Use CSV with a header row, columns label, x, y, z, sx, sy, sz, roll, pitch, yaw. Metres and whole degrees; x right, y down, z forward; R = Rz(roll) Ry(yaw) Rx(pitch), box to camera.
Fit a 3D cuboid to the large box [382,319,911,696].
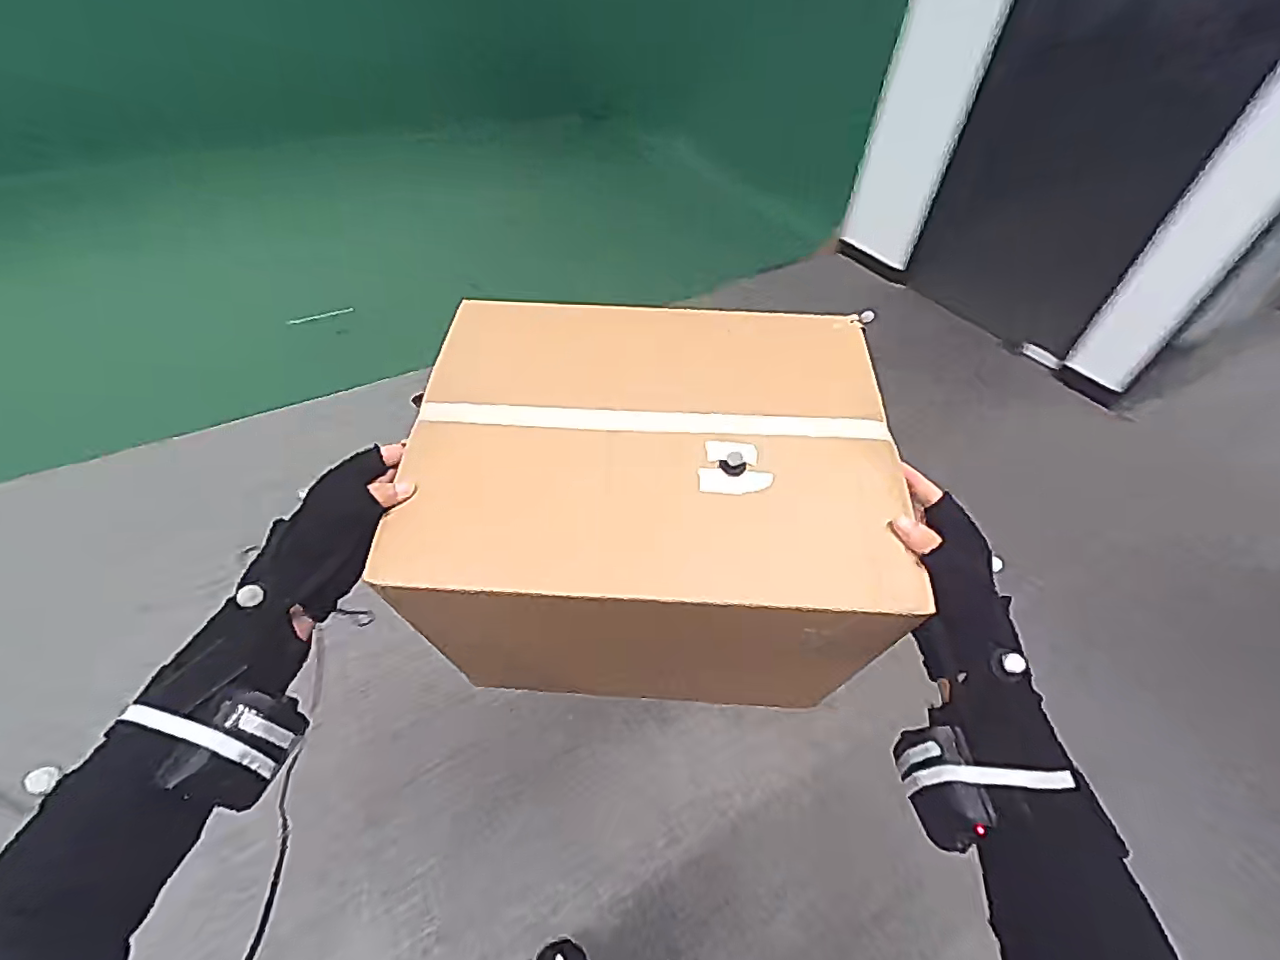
label,x,y,z,sx,sy,sz,roll,pitch,yaw
large box,0.003,0.045,0.604,0.408,0.320,0.320,2,56,0
